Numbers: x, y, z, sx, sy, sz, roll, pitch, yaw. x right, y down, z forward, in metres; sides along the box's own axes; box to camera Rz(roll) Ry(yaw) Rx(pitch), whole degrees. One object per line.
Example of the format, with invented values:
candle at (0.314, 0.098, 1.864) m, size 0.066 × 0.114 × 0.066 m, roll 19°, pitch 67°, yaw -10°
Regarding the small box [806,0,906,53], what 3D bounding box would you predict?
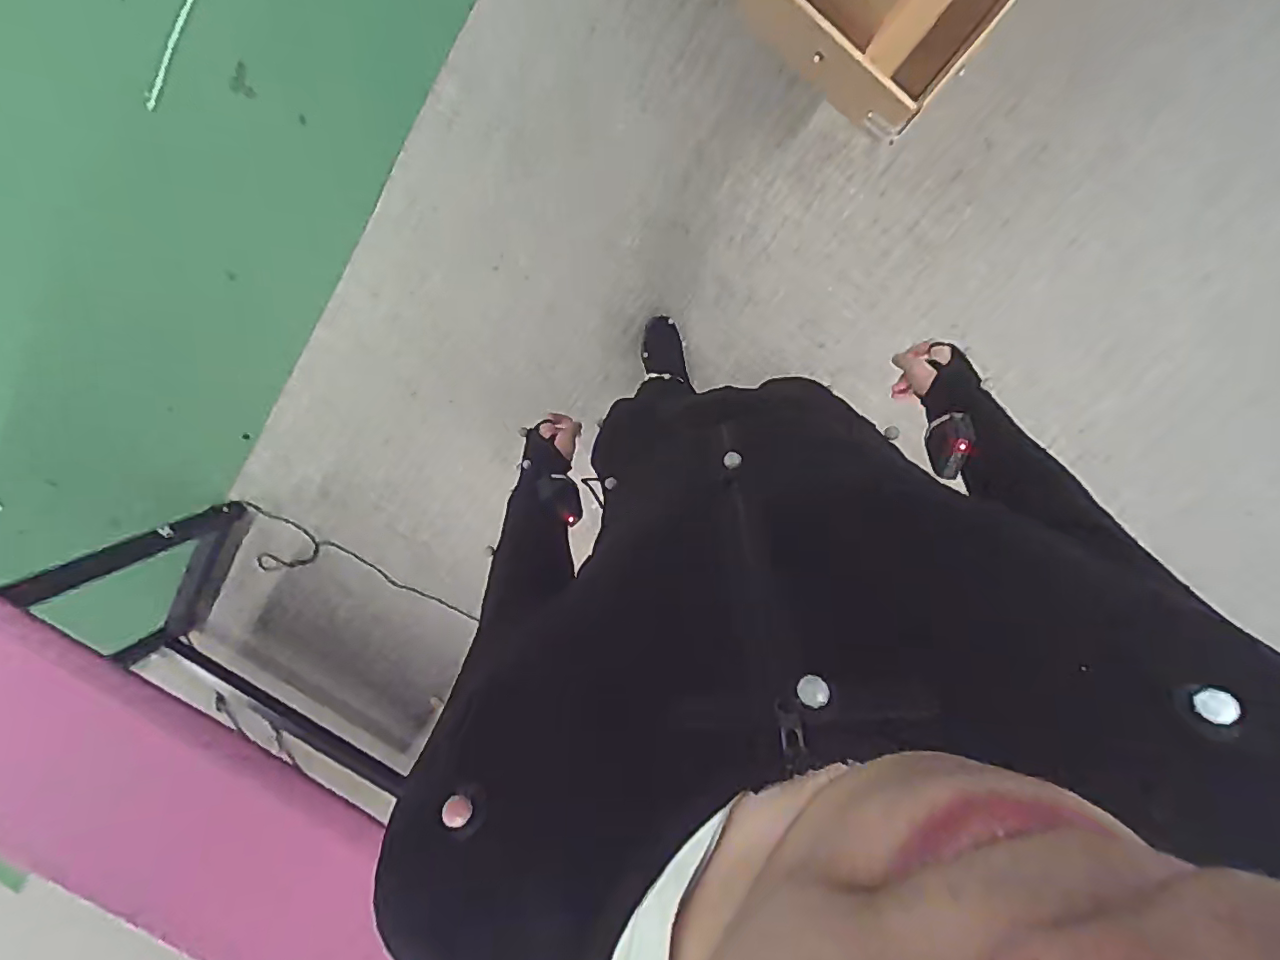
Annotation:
small box at (0.383, -0.857, 0.877) m, size 0.168 × 0.176 × 0.179 m, roll 39°, pitch 104°, yaw -7°
